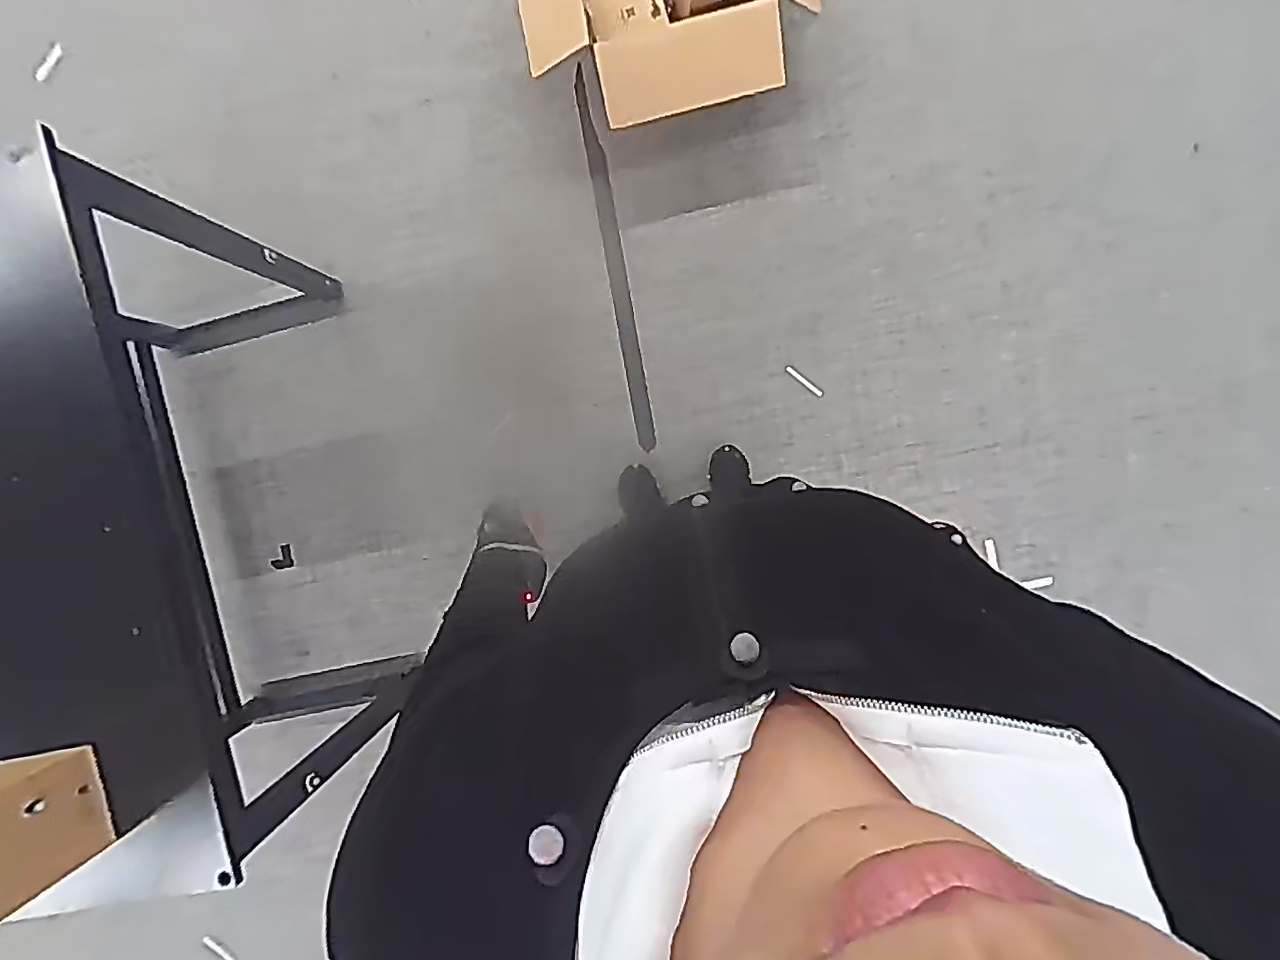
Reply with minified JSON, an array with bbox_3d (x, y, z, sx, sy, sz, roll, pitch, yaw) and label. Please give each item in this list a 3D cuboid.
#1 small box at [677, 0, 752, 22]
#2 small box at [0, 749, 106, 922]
[{"bbox_3d":[0.155,-1.133,1.152,0.168,0.176,0.179,-17,93,1],"label":"small box"},{"bbox_3d":[-0.946,0.523,0.794,0.179,0.176,0.168,-12,92,6],"label":"small box"}]
